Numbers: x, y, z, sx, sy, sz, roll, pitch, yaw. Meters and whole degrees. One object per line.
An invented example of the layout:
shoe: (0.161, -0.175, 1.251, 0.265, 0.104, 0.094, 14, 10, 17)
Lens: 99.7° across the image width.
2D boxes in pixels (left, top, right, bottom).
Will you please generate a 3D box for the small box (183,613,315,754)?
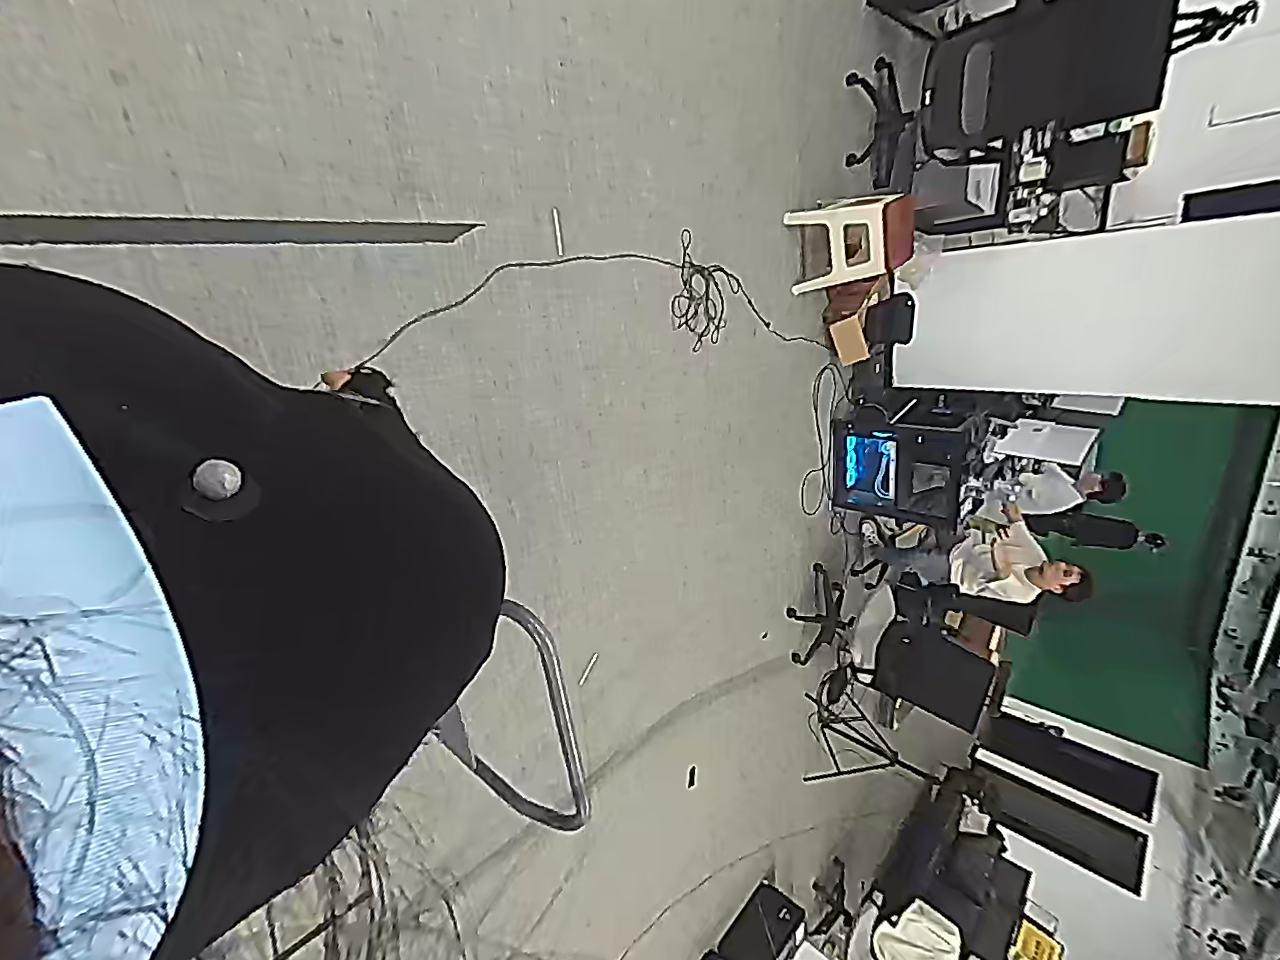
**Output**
small box: (-0.789, 0.399, 1.092, 0.168, 0.176, 0.179, -21, 113, -42)
